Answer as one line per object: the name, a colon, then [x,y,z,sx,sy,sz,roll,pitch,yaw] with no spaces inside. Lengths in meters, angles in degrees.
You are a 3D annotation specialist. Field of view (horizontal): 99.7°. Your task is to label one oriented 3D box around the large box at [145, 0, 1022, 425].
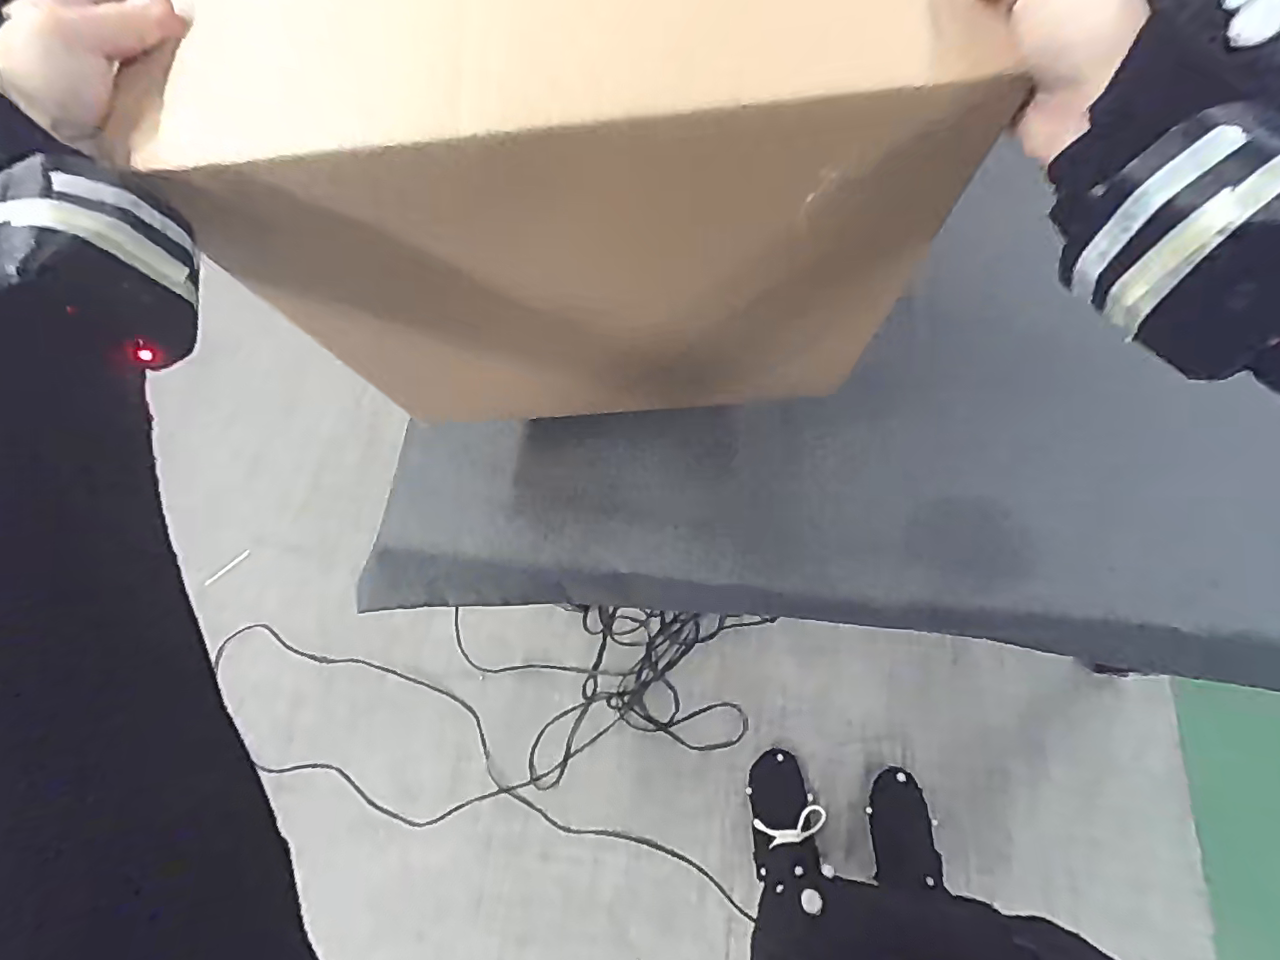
large box: [-0.033,-0.254,0.424,0.408,0.320,0.320,-4,75,2]
